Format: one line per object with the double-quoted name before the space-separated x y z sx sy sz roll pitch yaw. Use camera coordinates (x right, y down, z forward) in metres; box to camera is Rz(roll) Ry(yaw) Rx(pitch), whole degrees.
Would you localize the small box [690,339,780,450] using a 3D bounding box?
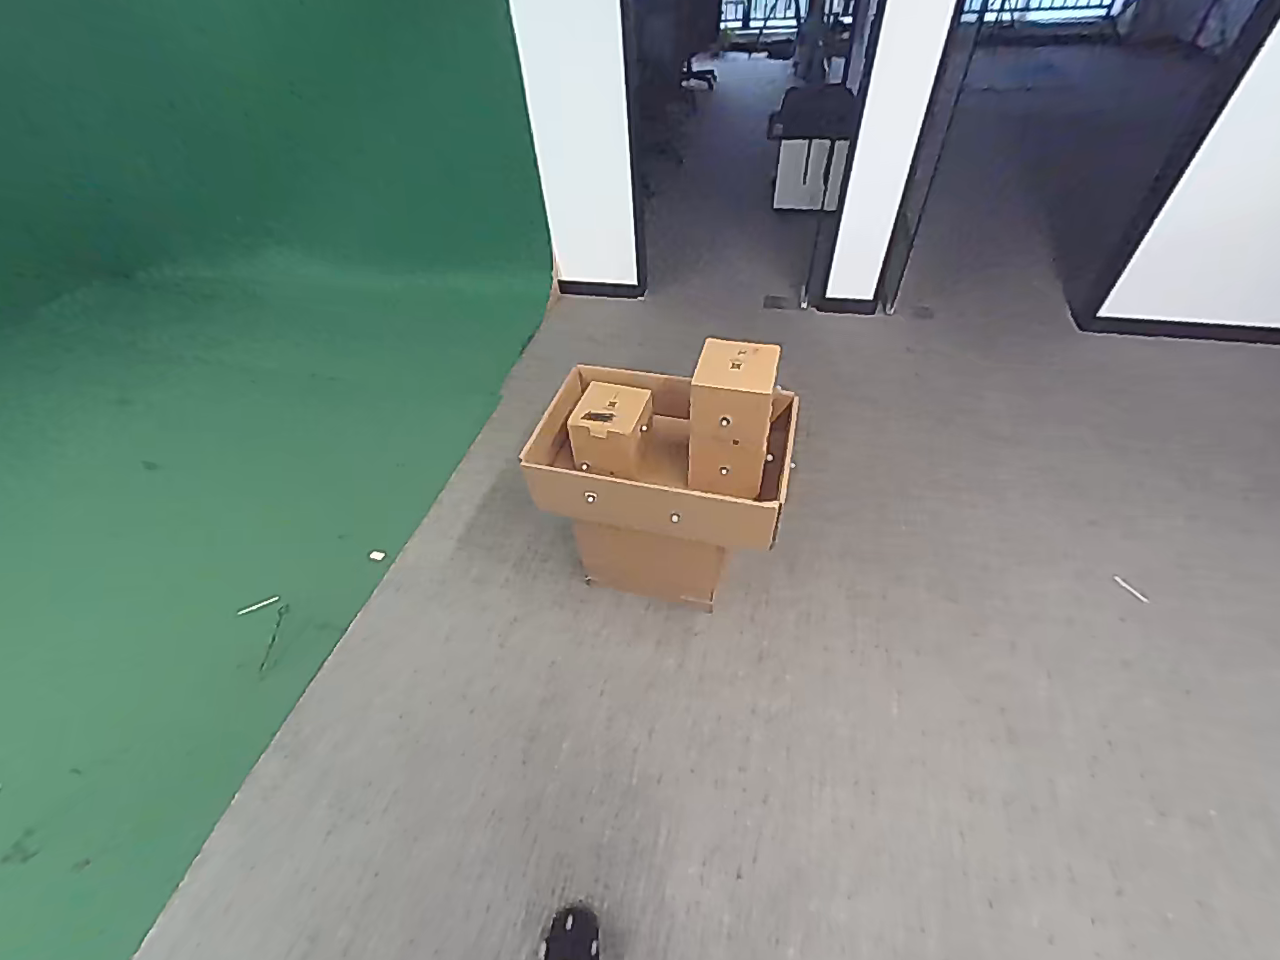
"small box" 0.210 -0.188 1.205 0.168 0.176 0.179 10 49 13
